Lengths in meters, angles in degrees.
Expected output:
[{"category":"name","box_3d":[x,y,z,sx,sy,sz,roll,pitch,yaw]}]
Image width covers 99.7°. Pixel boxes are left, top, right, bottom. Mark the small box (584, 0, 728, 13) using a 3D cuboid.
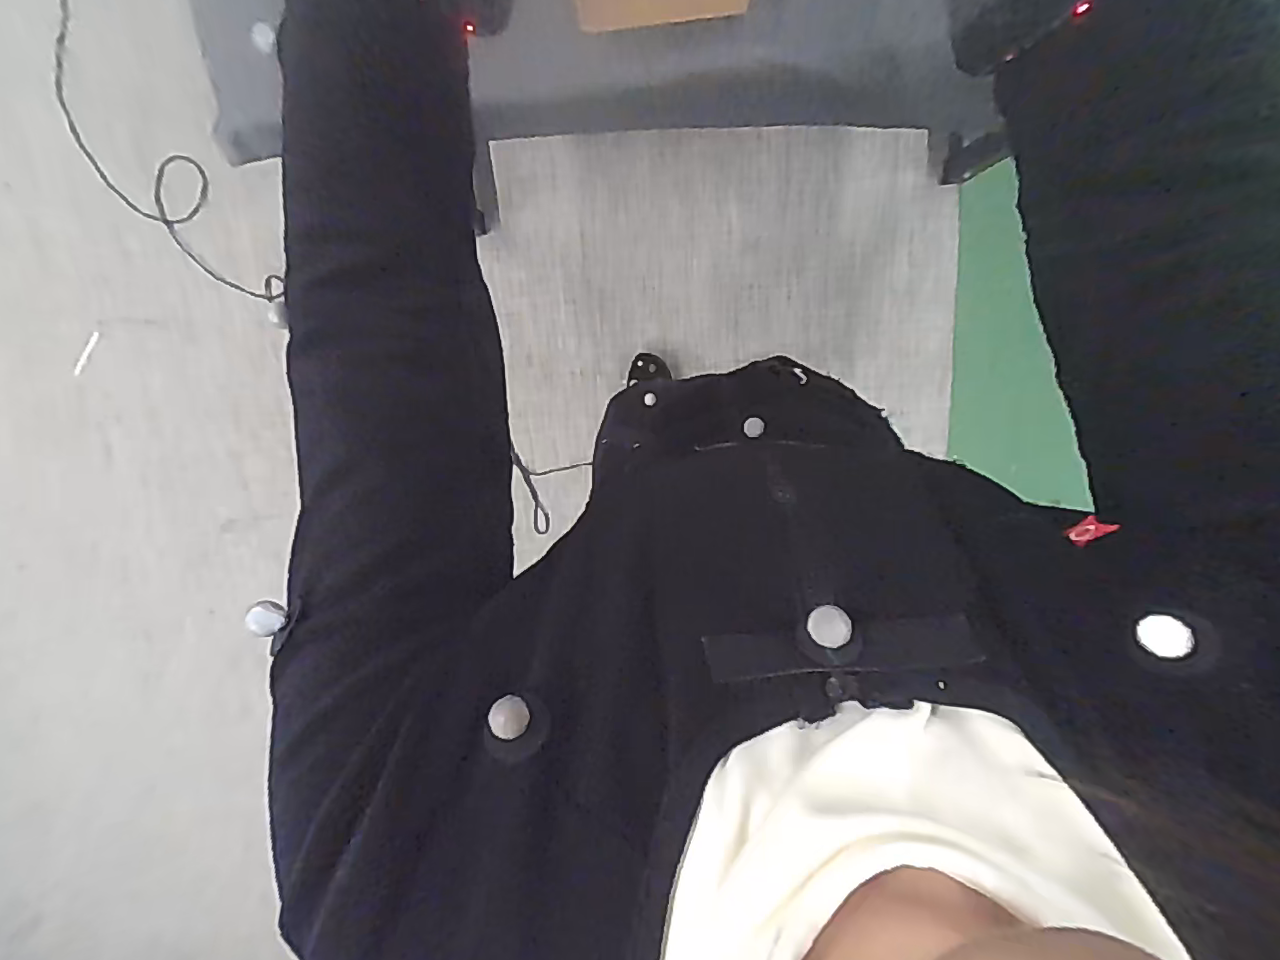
[{"category":"small box","box_3d":[0.018,-0.554,0.473,0.179,0.176,0.168,-4,103,3]}]
